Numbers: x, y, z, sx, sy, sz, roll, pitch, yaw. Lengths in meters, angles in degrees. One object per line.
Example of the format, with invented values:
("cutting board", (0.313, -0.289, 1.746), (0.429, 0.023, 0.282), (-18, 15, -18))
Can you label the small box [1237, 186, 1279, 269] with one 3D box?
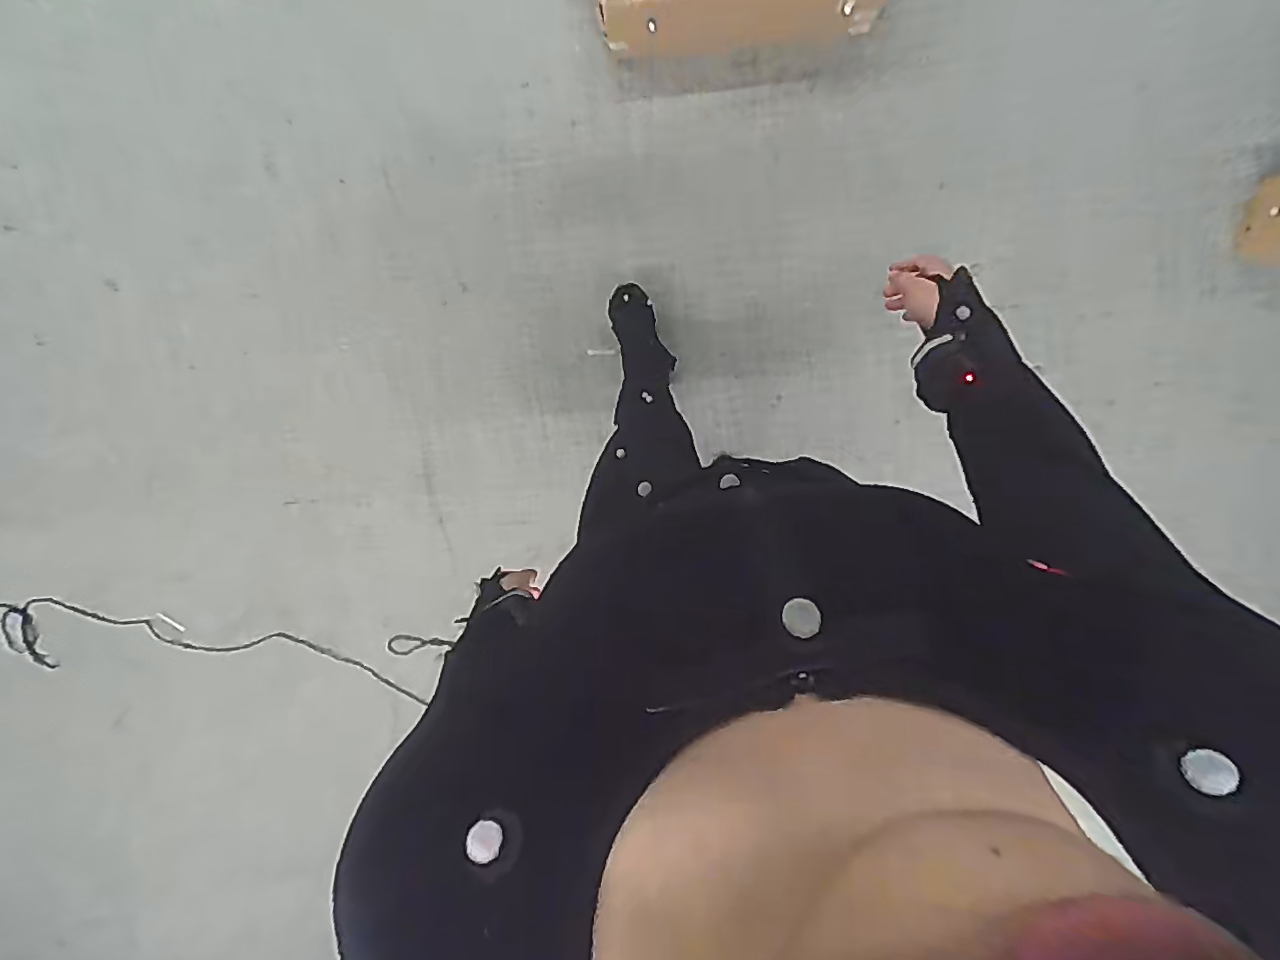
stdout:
("small box", (1.505, -0.570, 1.192), (0.179, 0.176, 0.168), (8, 101, 3))
